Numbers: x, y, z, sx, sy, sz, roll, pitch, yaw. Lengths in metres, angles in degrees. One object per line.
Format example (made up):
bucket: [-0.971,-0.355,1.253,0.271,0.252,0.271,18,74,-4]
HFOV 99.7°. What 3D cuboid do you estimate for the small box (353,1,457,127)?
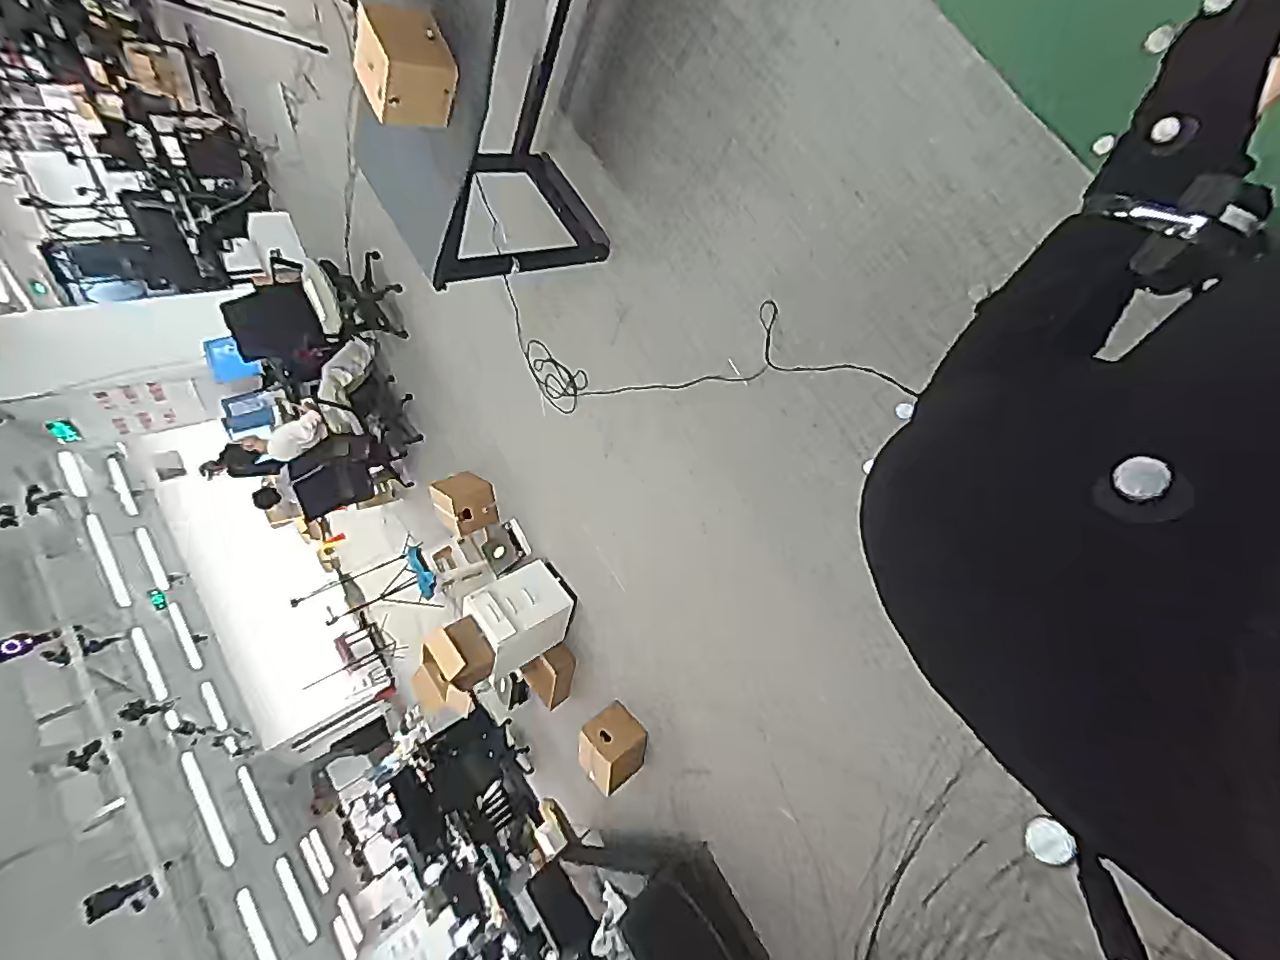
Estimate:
small box: [-0.566,-0.985,1.301,0.168,0.176,0.179,-34,80,54]
